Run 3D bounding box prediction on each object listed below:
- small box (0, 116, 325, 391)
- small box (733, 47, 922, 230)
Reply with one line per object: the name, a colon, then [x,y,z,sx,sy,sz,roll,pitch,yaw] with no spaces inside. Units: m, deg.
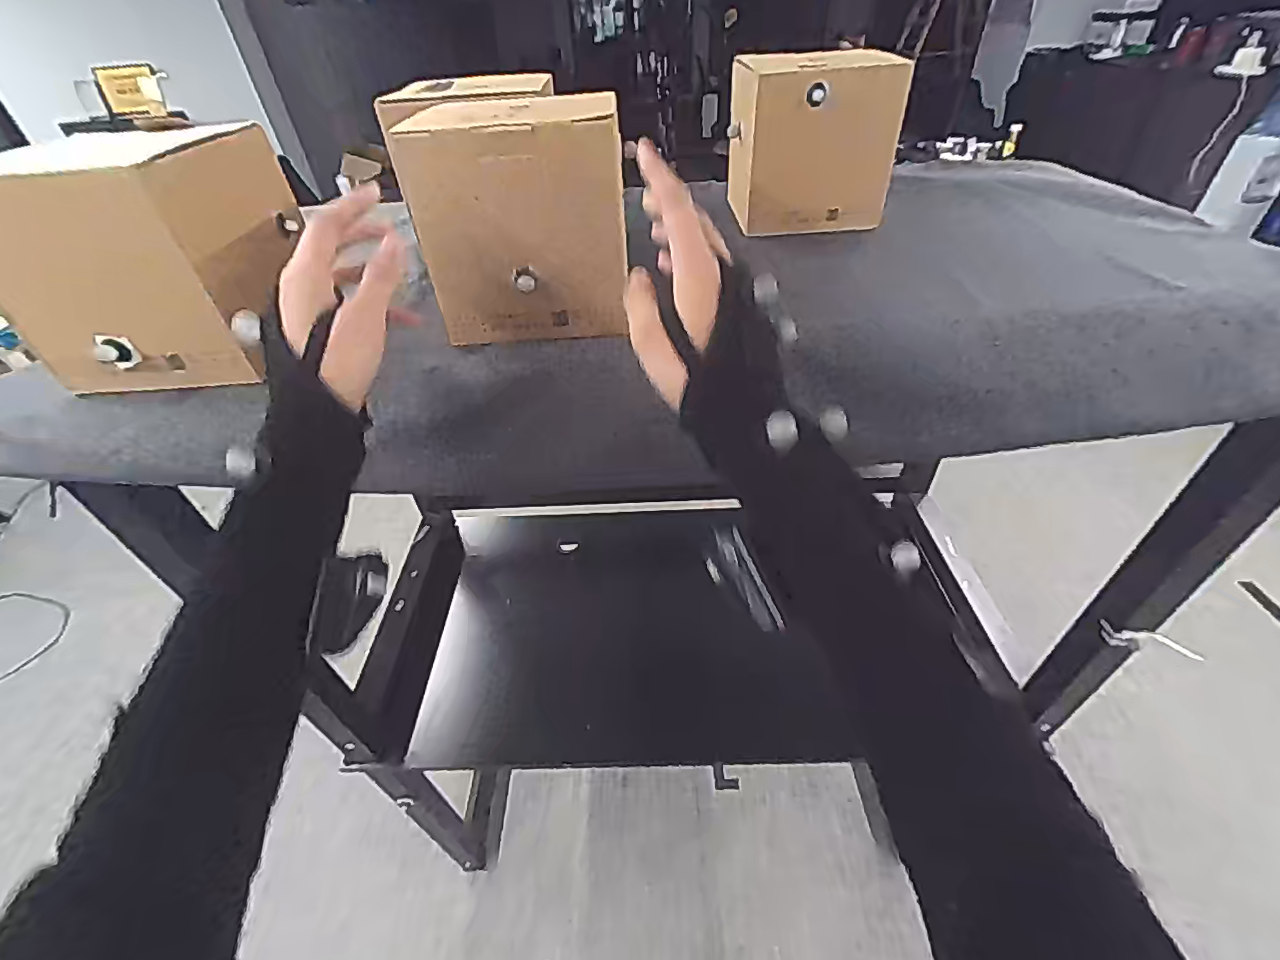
small box: [-0.401,-0.192,0.455,0.168,0.176,0.179,-4,41,0]
small box: [0.210,-0.421,0.668,0.168,0.176,0.179,-3,41,1]
